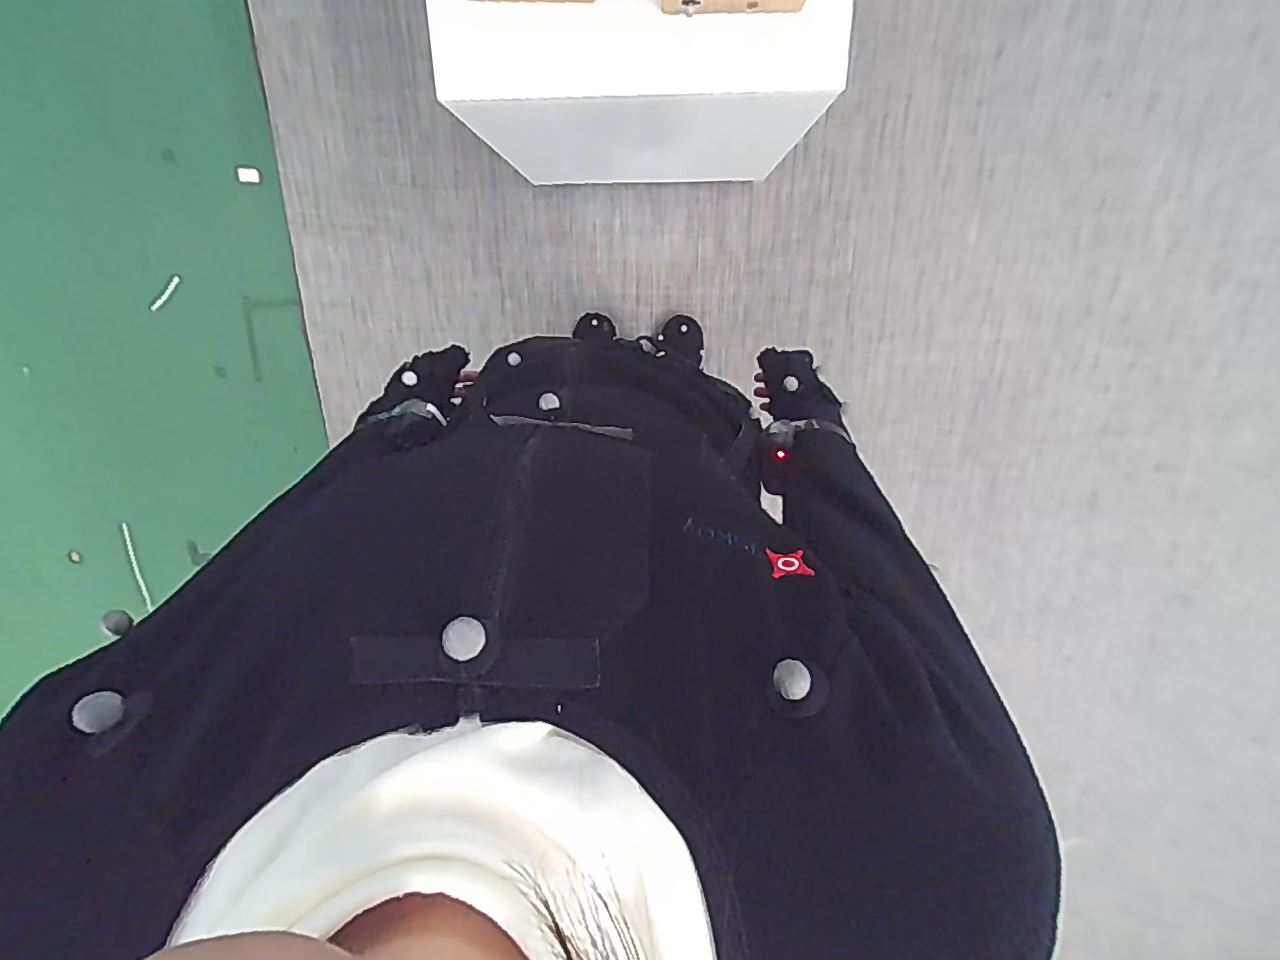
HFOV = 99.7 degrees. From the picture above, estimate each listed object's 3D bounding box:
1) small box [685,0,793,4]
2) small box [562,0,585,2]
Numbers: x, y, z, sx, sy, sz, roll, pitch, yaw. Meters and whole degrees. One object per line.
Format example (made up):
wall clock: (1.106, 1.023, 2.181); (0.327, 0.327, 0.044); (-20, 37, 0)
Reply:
small box: (0.104, -0.615, 0.536); (0.168, 0.176, 0.179); (1, 107, 2)
small box: (-0.129, -0.632, 0.541); (0.168, 0.176, 0.179); (3, 108, 3)
